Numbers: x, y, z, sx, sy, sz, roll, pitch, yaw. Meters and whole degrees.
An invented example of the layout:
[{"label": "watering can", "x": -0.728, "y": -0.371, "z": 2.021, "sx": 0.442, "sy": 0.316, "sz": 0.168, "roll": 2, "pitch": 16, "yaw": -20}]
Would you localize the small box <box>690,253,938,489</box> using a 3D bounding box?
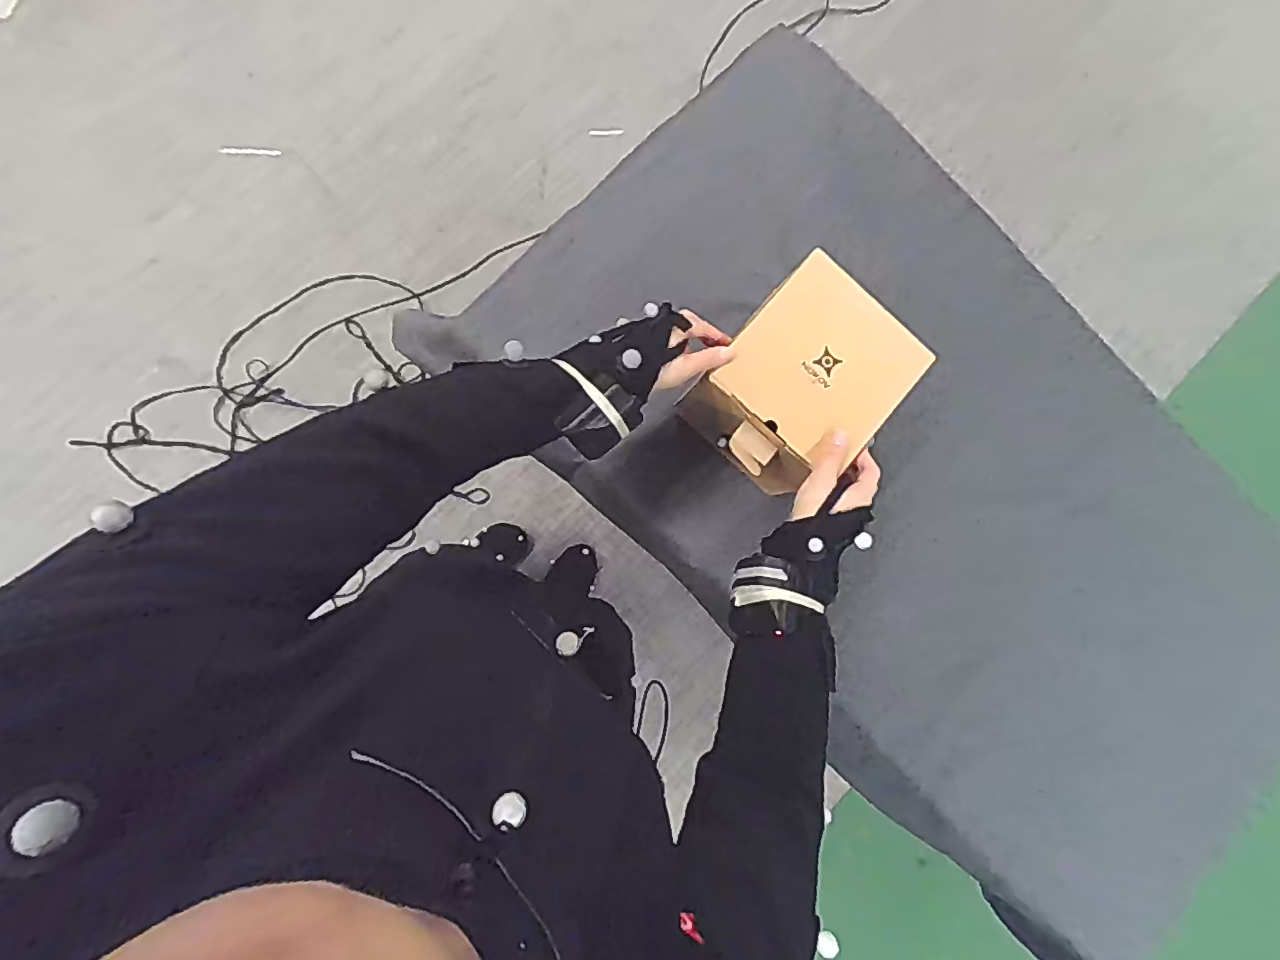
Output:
[{"label": "small box", "x": 0.178, "y": -0.107, "z": 0.611, "sx": 0.168, "sy": 0.176, "sz": 0.179, "roll": 41, "pitch": 83, "yaw": -2}]
